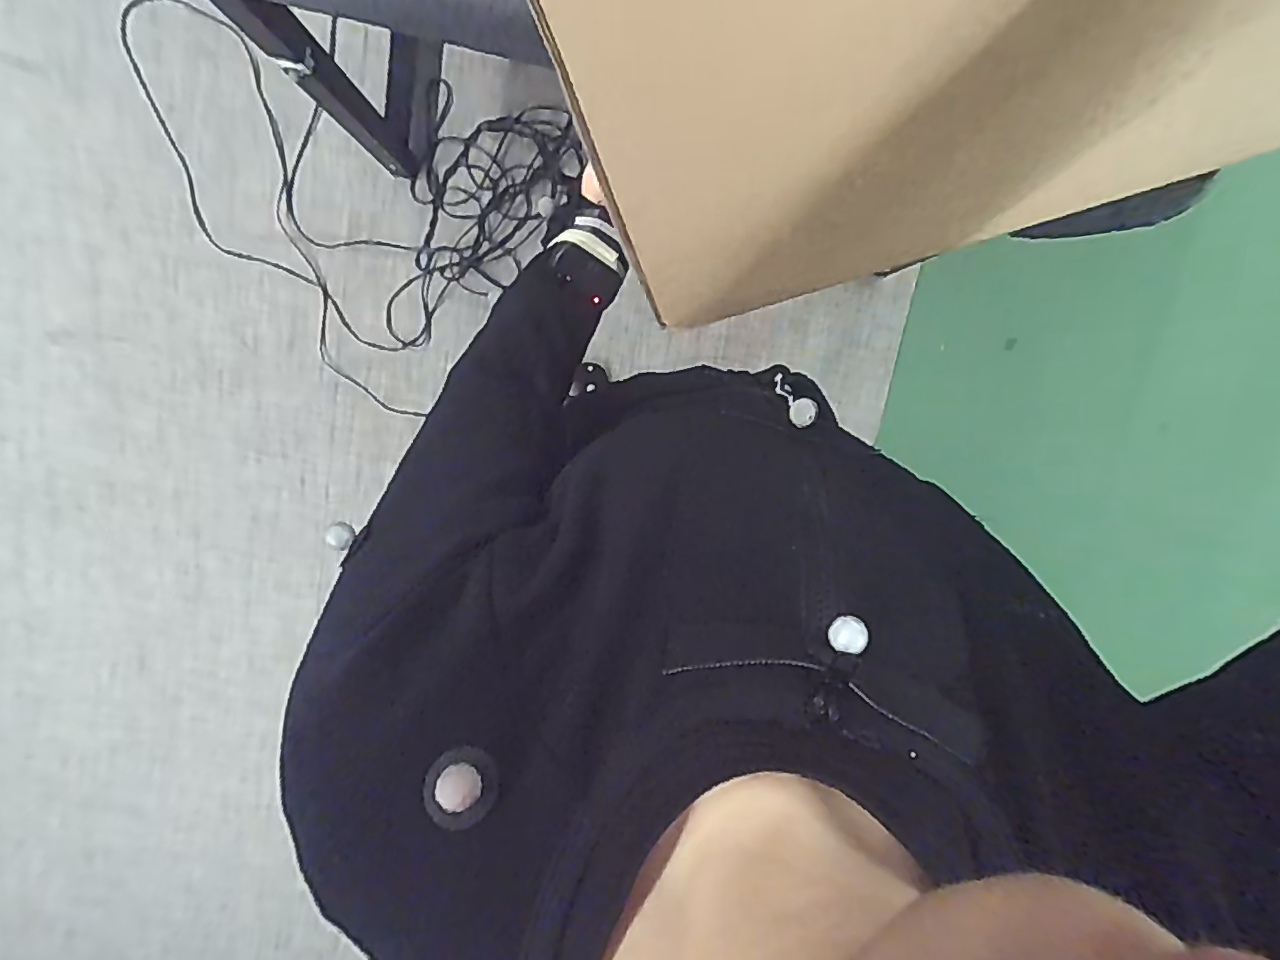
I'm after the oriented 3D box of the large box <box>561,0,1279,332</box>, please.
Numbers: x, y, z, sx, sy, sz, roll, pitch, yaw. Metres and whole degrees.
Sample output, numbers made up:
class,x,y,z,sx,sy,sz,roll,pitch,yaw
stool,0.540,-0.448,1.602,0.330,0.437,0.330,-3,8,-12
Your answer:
class,x,y,z,sx,sy,sz,roll,pitch,yaw
large box,0.152,-0.344,0.274,0.408,0.320,0.320,-17,145,13
